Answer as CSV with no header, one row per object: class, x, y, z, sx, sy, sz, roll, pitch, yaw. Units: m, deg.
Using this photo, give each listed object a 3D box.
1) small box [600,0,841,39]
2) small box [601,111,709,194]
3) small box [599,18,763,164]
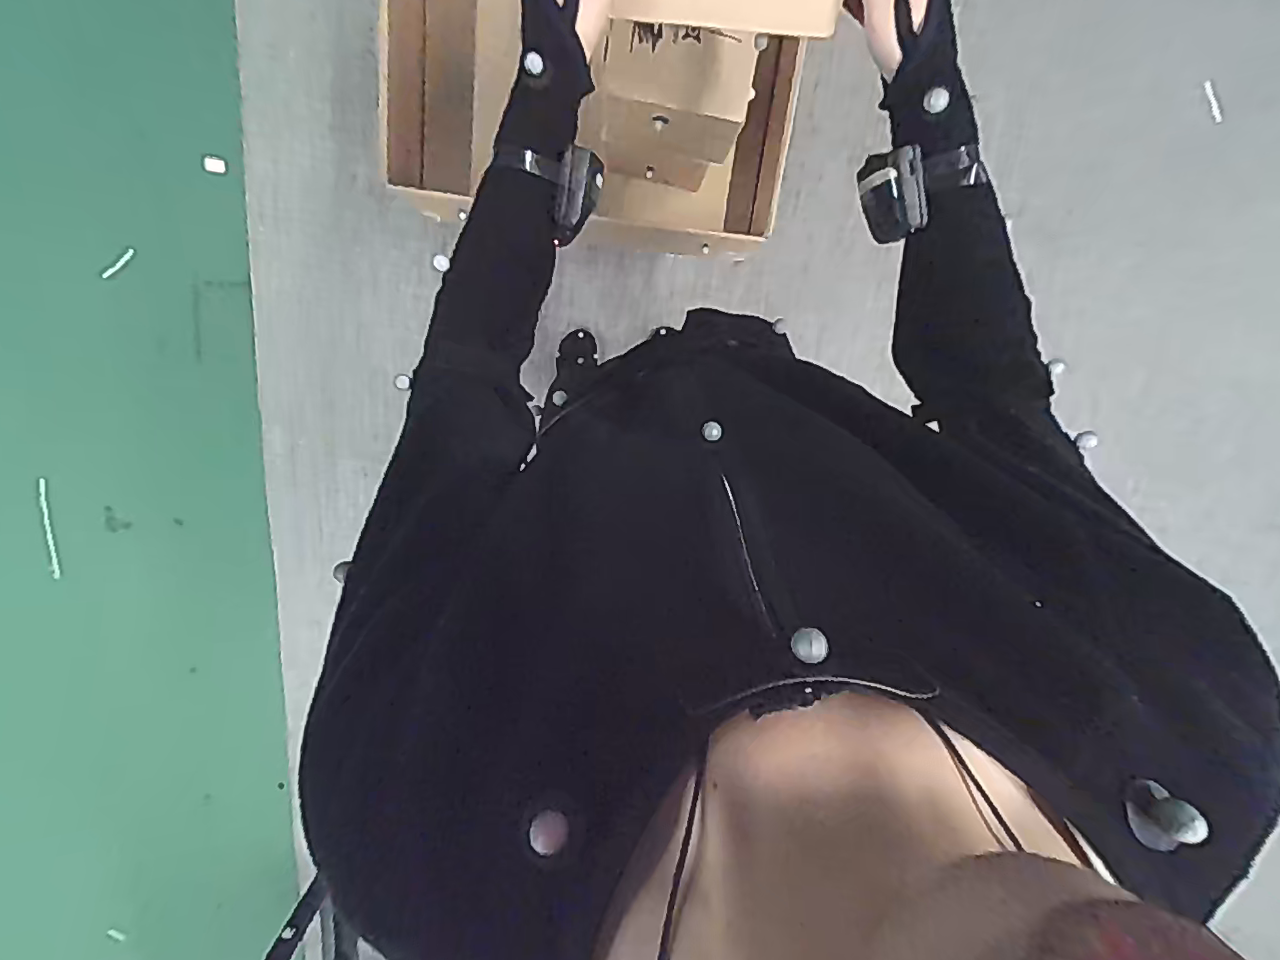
small box,0.065,-0.449,0.403,0.179,0.176,0.168,4,133,-1
small box,0.043,-0.573,0.847,0.168,0.176,0.179,12,104,-2
small box,0.053,-0.528,0.689,0.179,0.176,0.168,11,104,-2
